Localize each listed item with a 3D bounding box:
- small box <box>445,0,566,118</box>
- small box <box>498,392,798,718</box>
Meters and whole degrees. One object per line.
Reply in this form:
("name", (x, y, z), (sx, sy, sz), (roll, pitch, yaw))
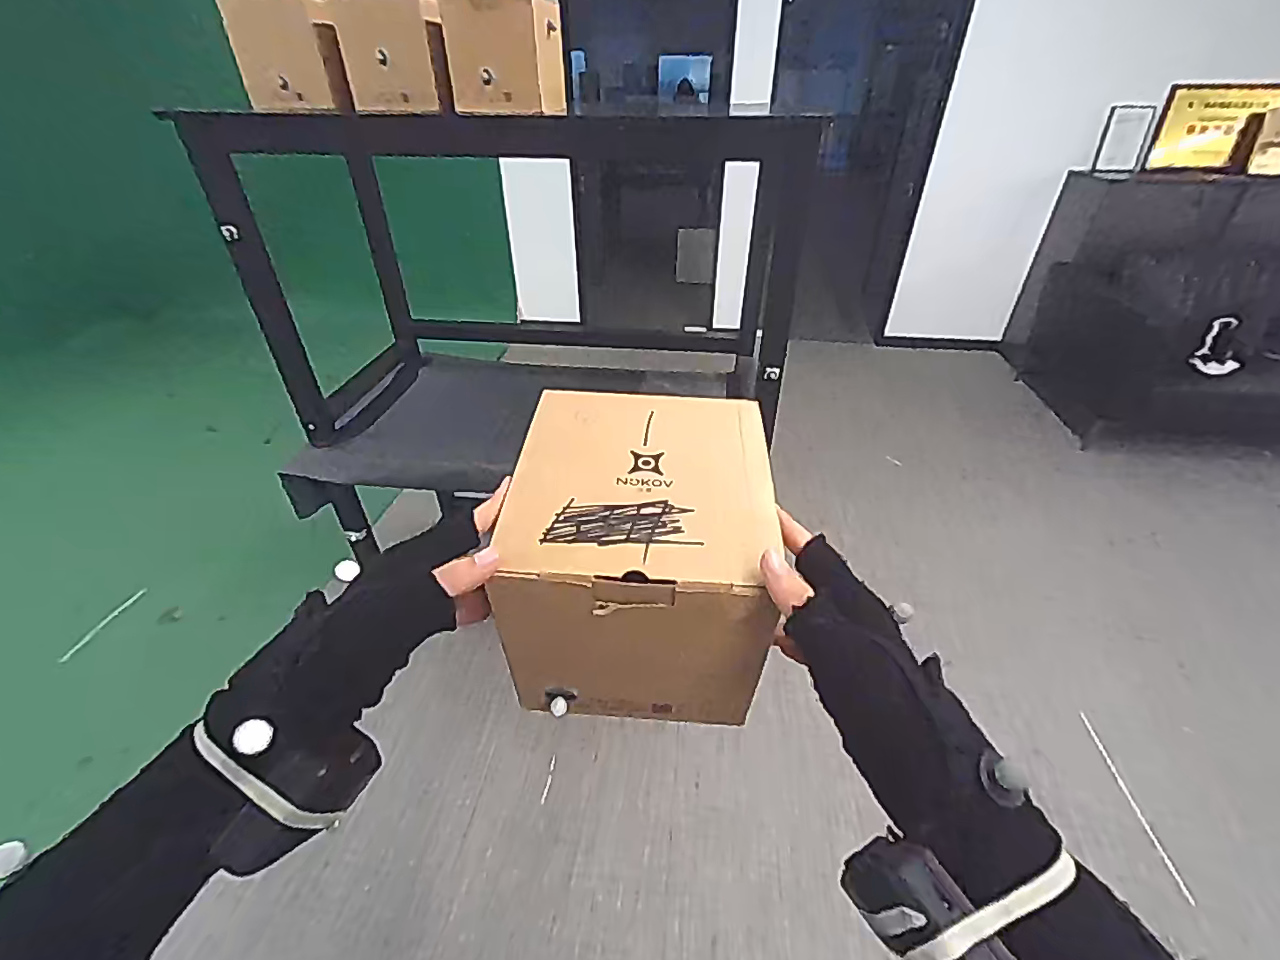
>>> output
("small box", (-0.235, -0.774, 0.993), (0.168, 0.176, 0.179), (5, 37, 6))
("small box", (0.008, 0.055, 0.402), (0.168, 0.176, 0.179), (4, 42, 2))
